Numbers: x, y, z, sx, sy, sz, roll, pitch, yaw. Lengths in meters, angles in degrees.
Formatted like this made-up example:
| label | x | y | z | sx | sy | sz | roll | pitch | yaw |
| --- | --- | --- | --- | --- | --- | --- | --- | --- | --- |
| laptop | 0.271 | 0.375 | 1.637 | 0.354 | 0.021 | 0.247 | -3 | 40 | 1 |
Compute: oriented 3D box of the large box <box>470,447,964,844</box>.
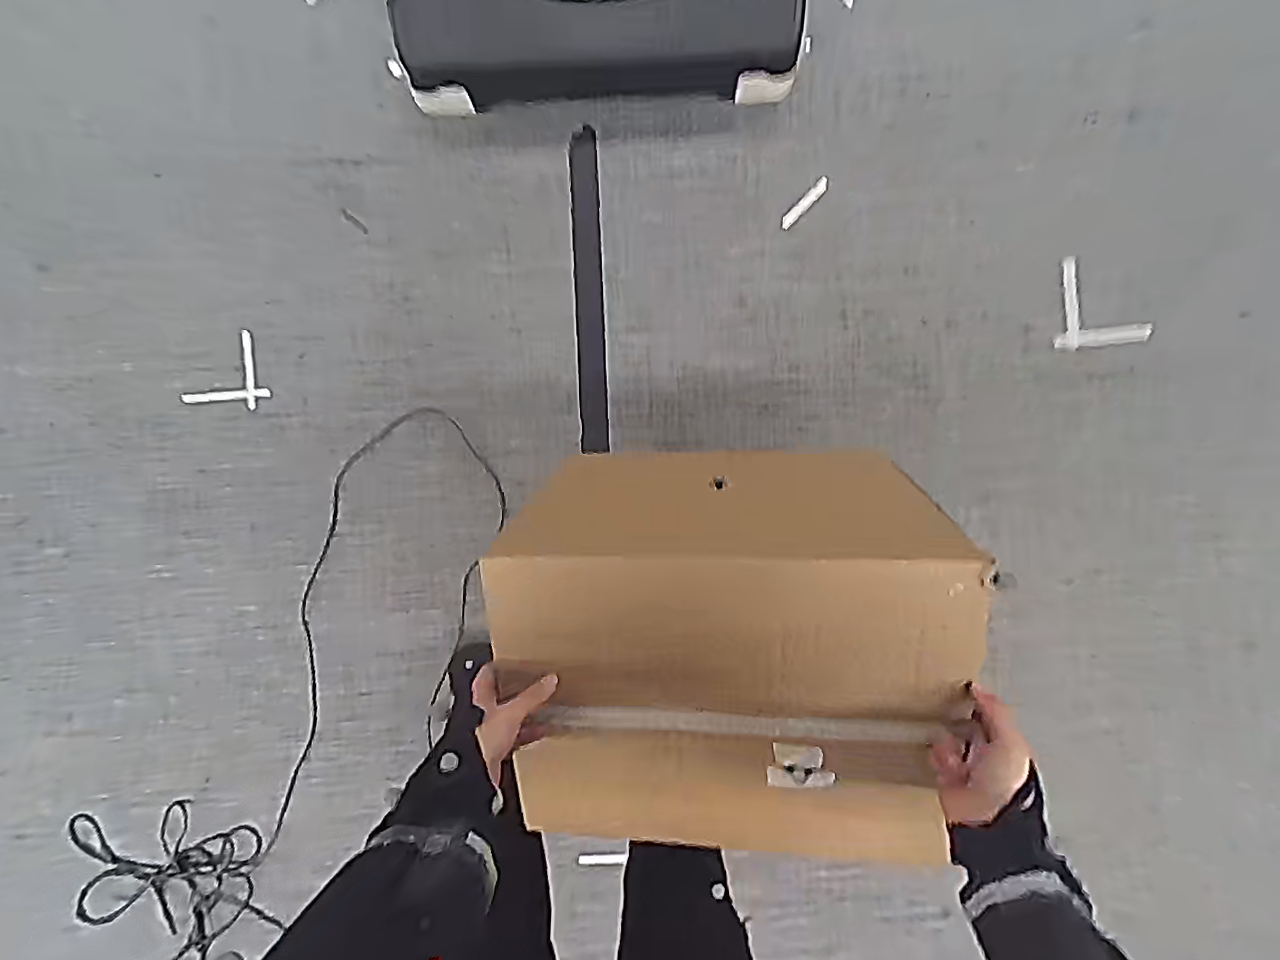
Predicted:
| label | x | y | z | sx | sy | sz | roll | pitch | yaw |
| --- | --- | --- | --- | --- | --- | --- | --- | --- | --- |
| large box | 0.078 | 0.155 | 0.620 | 0.408 | 0.320 | 0.320 | -2 | 110 | 8 |
